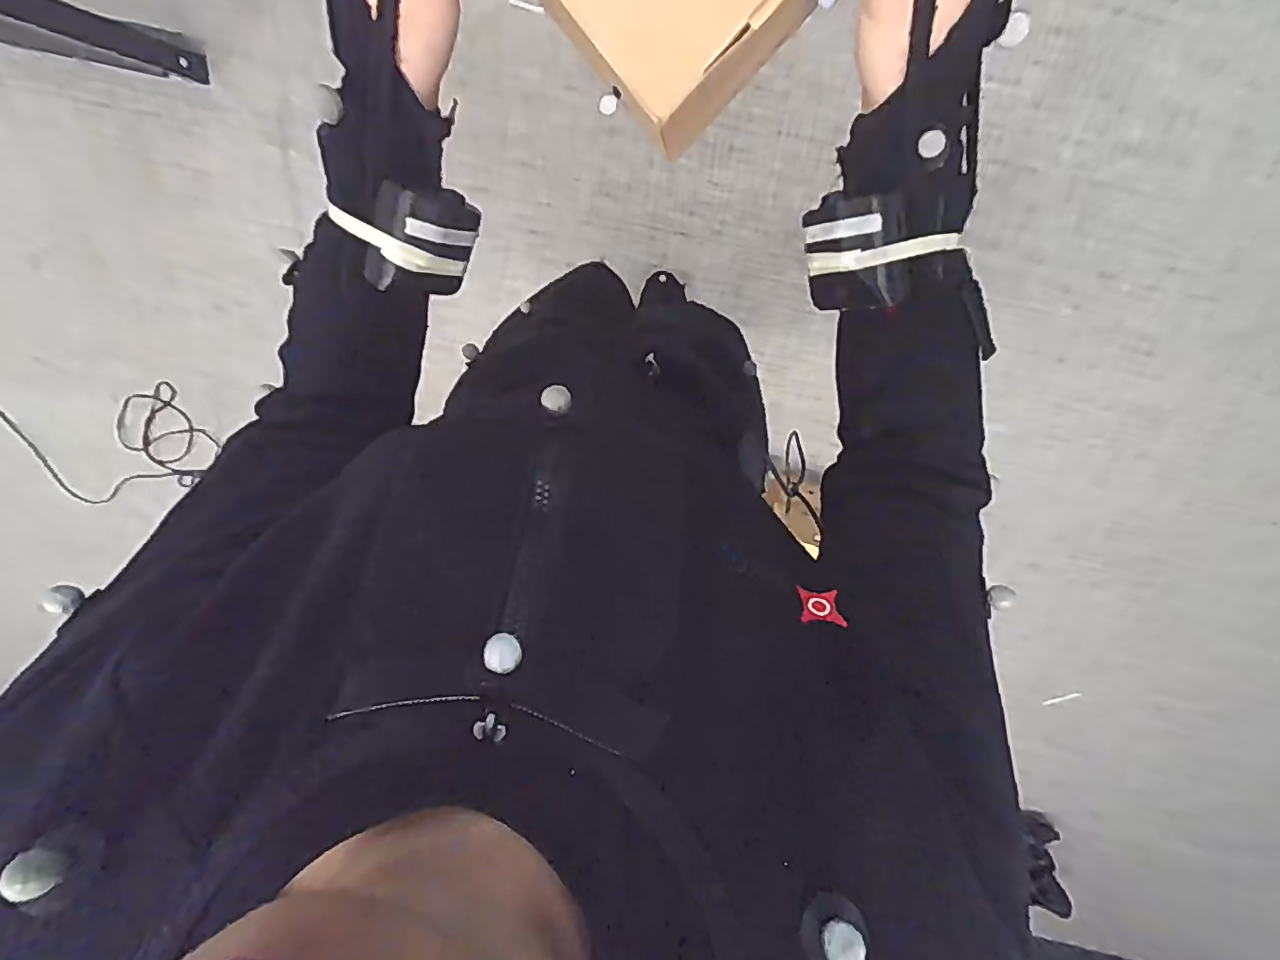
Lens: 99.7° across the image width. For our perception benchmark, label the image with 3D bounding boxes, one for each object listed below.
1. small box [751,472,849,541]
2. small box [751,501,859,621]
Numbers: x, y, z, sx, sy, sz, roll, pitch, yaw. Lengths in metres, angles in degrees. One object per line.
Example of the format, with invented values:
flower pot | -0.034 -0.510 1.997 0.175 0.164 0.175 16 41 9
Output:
small box | 0.382 0.099 1.332 0.168 0.176 0.179 16 113 -1
small box | 0.351 0.172 1.188 0.168 0.176 0.179 17 113 0
